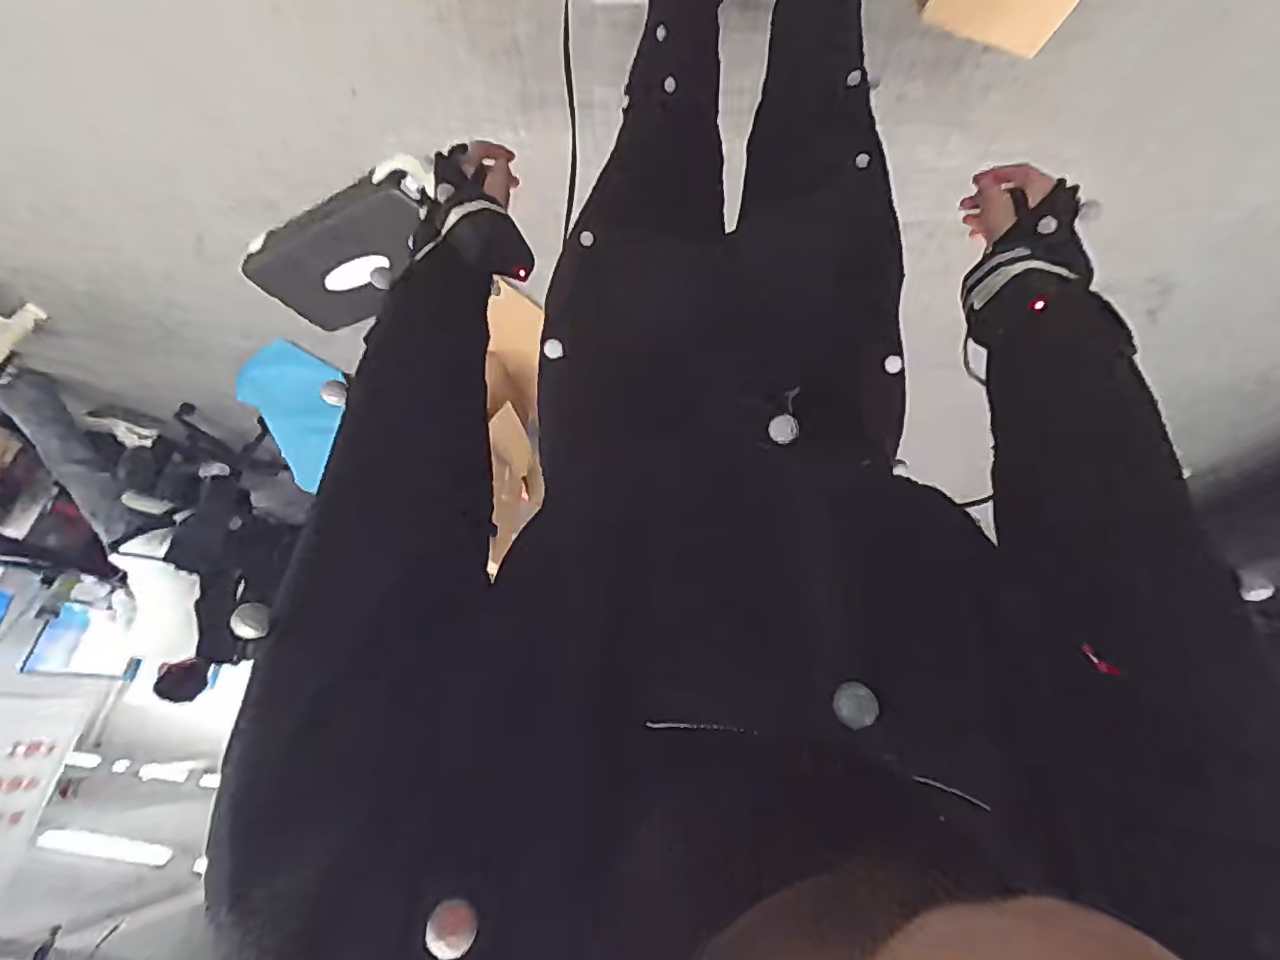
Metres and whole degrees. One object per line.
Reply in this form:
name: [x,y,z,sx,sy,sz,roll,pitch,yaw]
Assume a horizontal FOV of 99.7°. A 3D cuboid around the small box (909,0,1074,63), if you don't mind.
small box: [0.470,-0.690,0.687,0.179,0.176,0.168,12,156,-8]
